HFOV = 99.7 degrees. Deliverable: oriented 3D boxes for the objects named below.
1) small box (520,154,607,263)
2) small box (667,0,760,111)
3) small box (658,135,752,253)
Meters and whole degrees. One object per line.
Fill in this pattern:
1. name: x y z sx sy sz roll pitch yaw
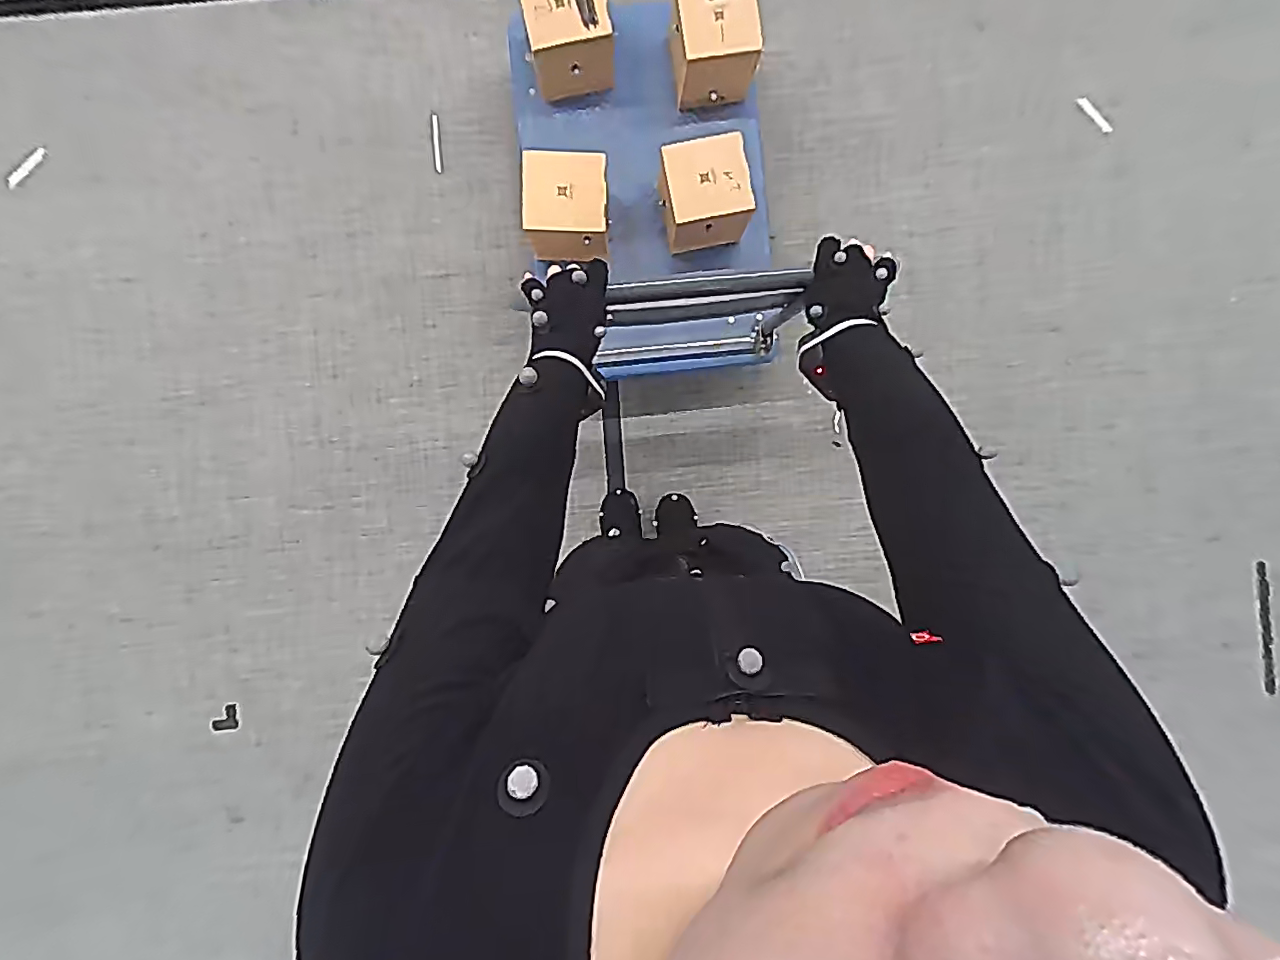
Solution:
1. small box: -0.165 -0.596 1.206 0.179 0.176 0.168 0 92 -3
2. small box: 0.156 -0.969 1.201 0.168 0.176 0.179 -9 93 -1
3. small box: 0.137 -0.629 1.212 0.179 0.176 0.168 -12 92 -1
